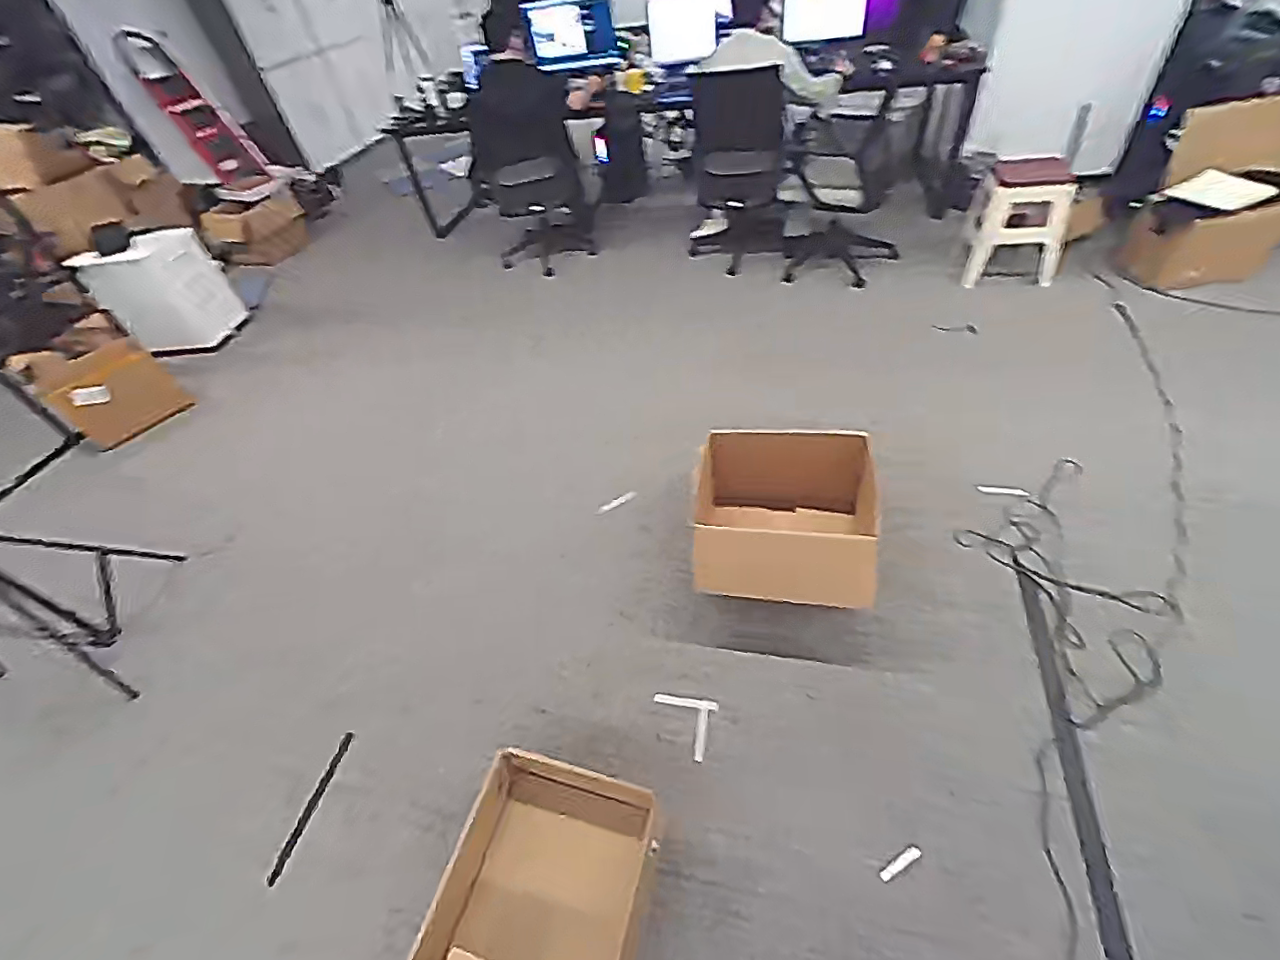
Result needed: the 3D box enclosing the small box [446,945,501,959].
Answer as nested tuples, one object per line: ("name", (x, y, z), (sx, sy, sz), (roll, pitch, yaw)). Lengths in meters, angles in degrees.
("small box", (-0.299, 1.016, 1.012), (0.168, 0.176, 0.179), (9, 47, 15))
